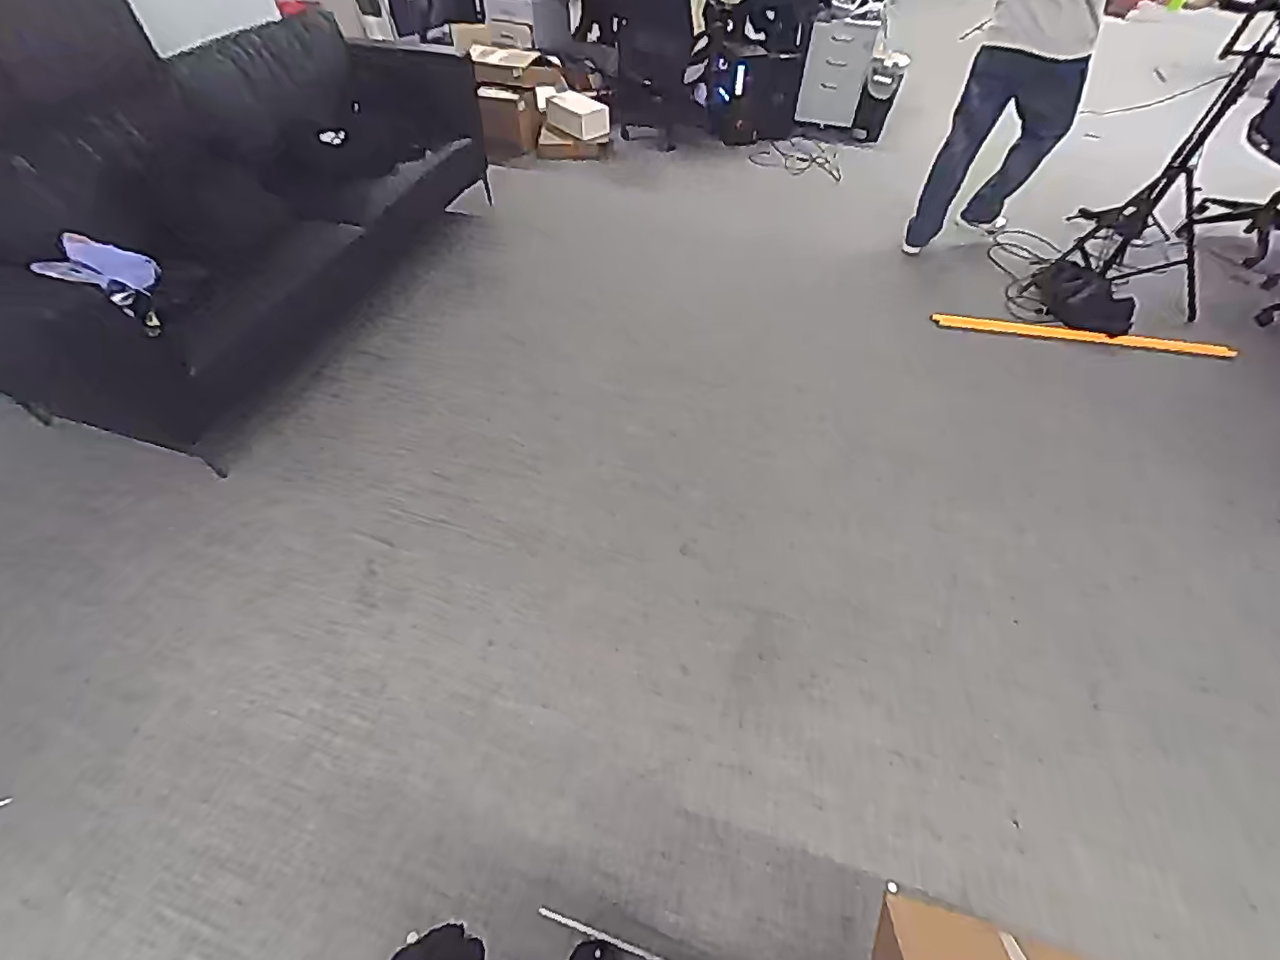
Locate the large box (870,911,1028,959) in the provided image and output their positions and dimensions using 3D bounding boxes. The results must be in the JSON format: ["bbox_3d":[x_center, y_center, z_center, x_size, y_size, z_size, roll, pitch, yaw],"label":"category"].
[{"bbox_3d":[0.422,0.799,0.568,0.320,0.408,0.320,13,89,14],"label":"large box"}]
